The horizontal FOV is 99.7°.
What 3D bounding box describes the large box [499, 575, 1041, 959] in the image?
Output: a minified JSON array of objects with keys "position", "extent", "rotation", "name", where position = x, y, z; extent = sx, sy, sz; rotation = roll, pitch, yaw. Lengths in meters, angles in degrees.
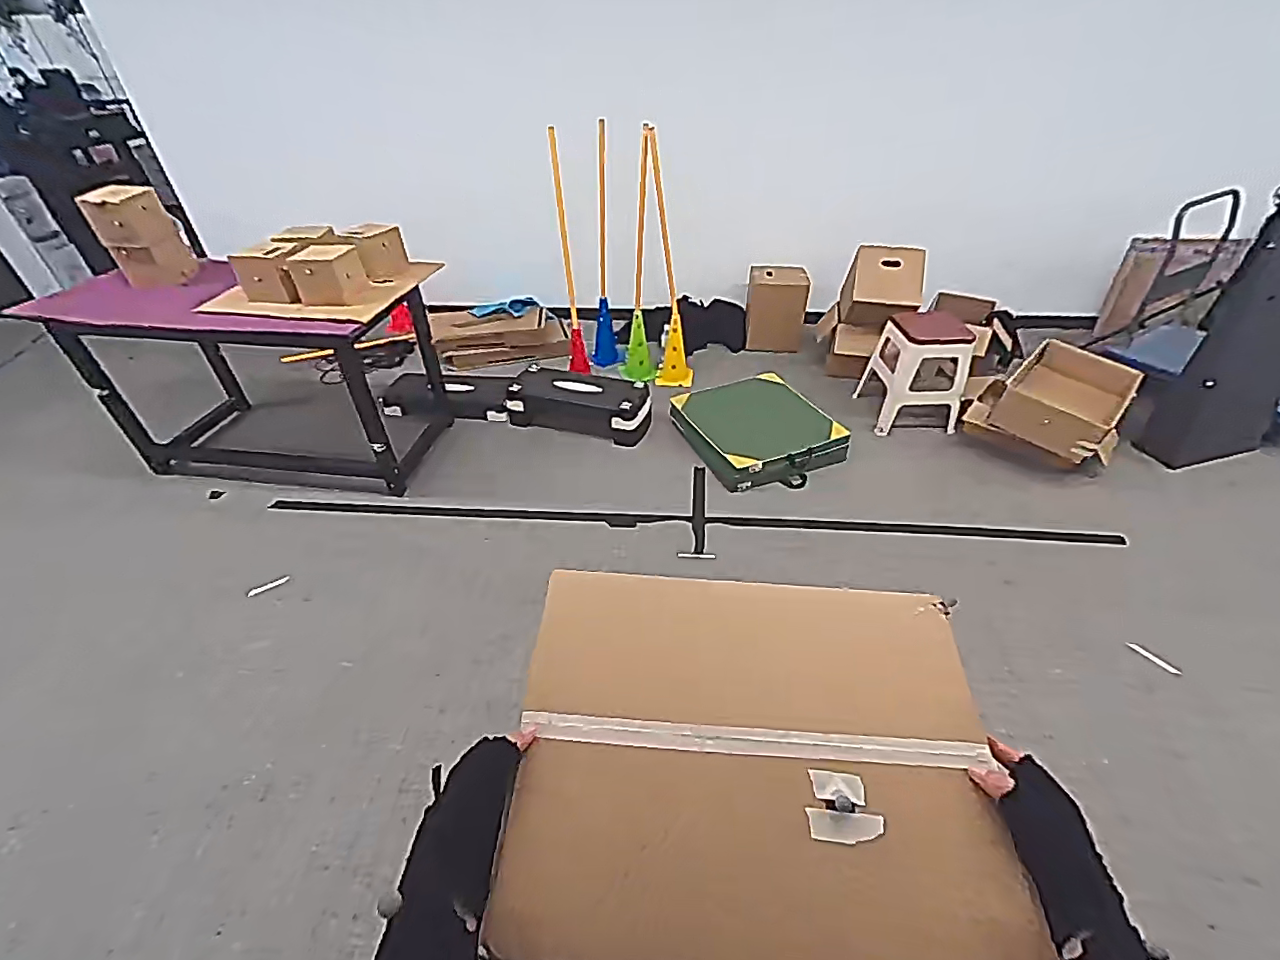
[{"position":[0.098,0.326,0.598],"extent":[0.408,0.320,0.320],"rotation":[4,51,2],"name":"large box"}]
